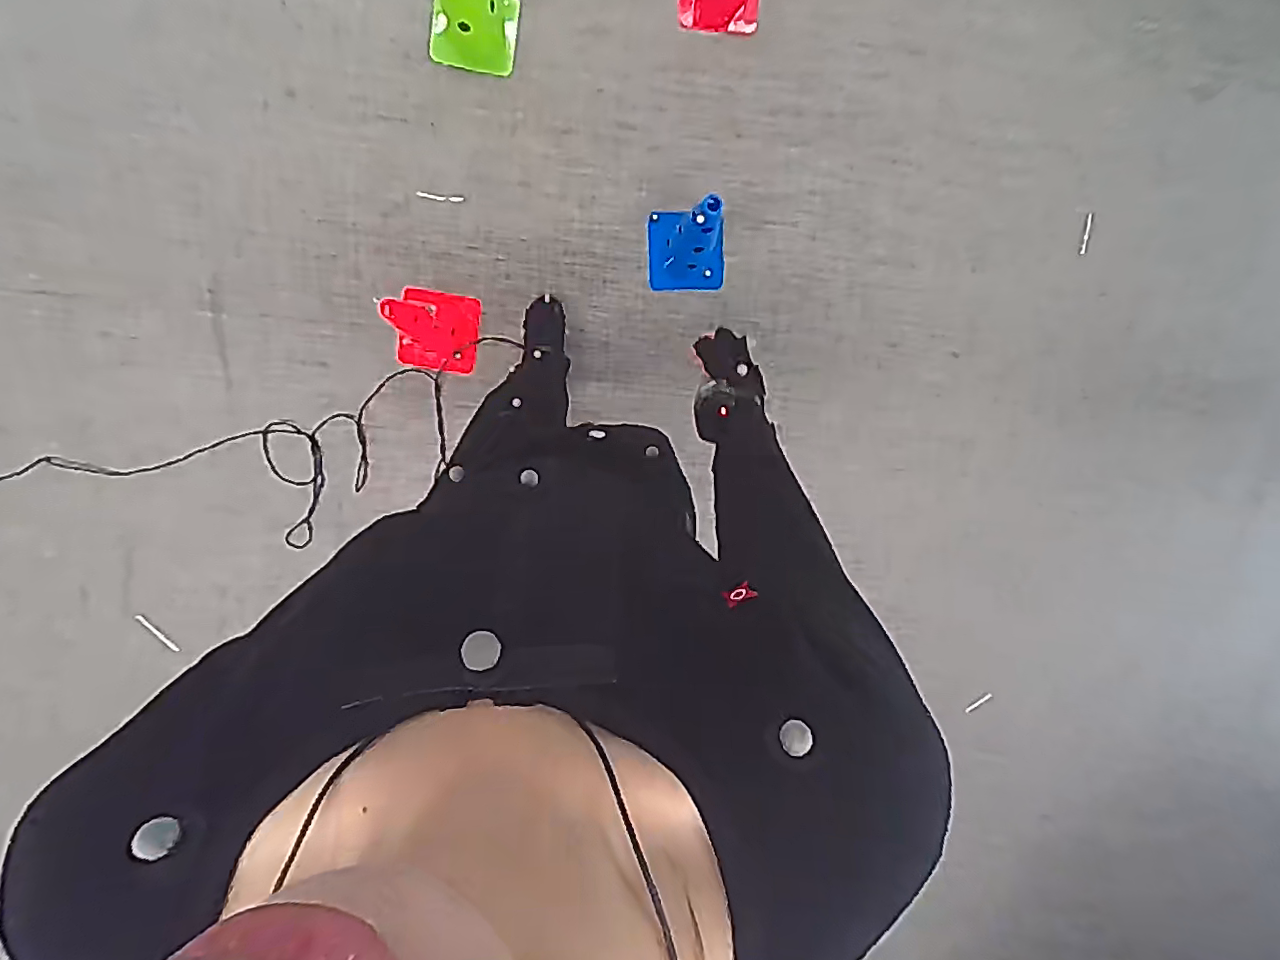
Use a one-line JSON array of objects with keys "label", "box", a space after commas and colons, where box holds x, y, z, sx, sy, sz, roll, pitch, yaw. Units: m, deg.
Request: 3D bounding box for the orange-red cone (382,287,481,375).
[{"label": "orange-red cone", "box": [-0.505, -0.364, 1.231, 0.198, 0.360, 0.199, 9, 96, -7]}]

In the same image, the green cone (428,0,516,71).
[{"label": "green cone", "box": [-0.392, -1.080, 1.130, 0.200, 0.368, 0.202, 7, 99, -5]}]
